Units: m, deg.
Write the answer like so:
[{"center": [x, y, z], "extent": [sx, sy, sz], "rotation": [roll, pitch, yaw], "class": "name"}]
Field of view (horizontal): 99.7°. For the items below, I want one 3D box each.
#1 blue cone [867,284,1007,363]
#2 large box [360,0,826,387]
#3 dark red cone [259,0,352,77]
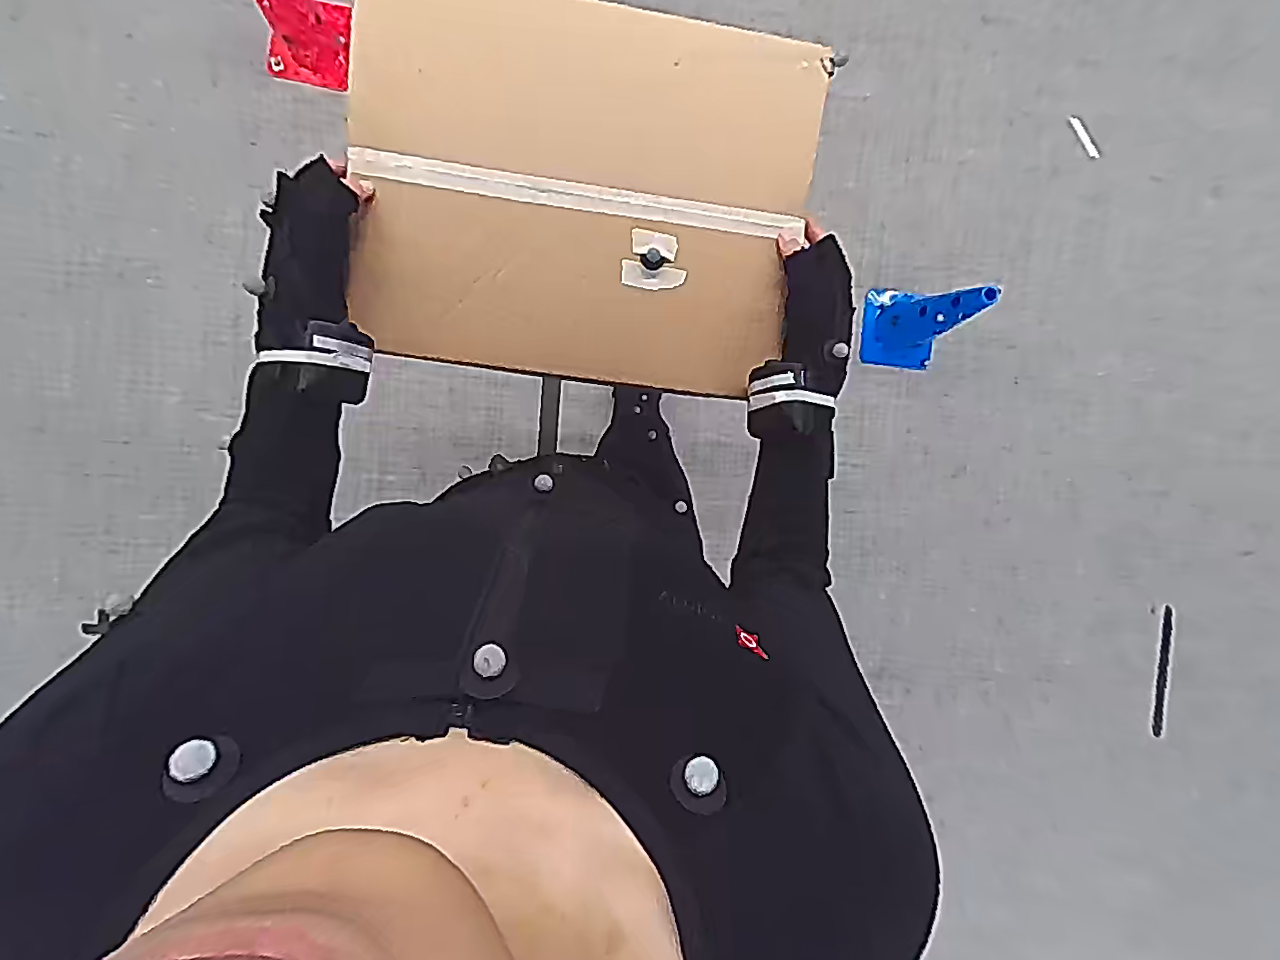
[{"center": [0.729, -0.408, 1.315], "extent": [0.192, 0.380, 0.193], "rotation": [7, 94, -5], "class": "blue cone"}, {"center": [-0.058, -0.287, 0.635], "extent": [0.408, 0.320, 0.320], "rotation": [6, 100, -6], "class": "large box"}, {"center": [-0.791, -1.079, 1.140], "extent": [0.201, 0.394, 0.202], "rotation": [9, 94, -5], "class": "dark red cone"}]
